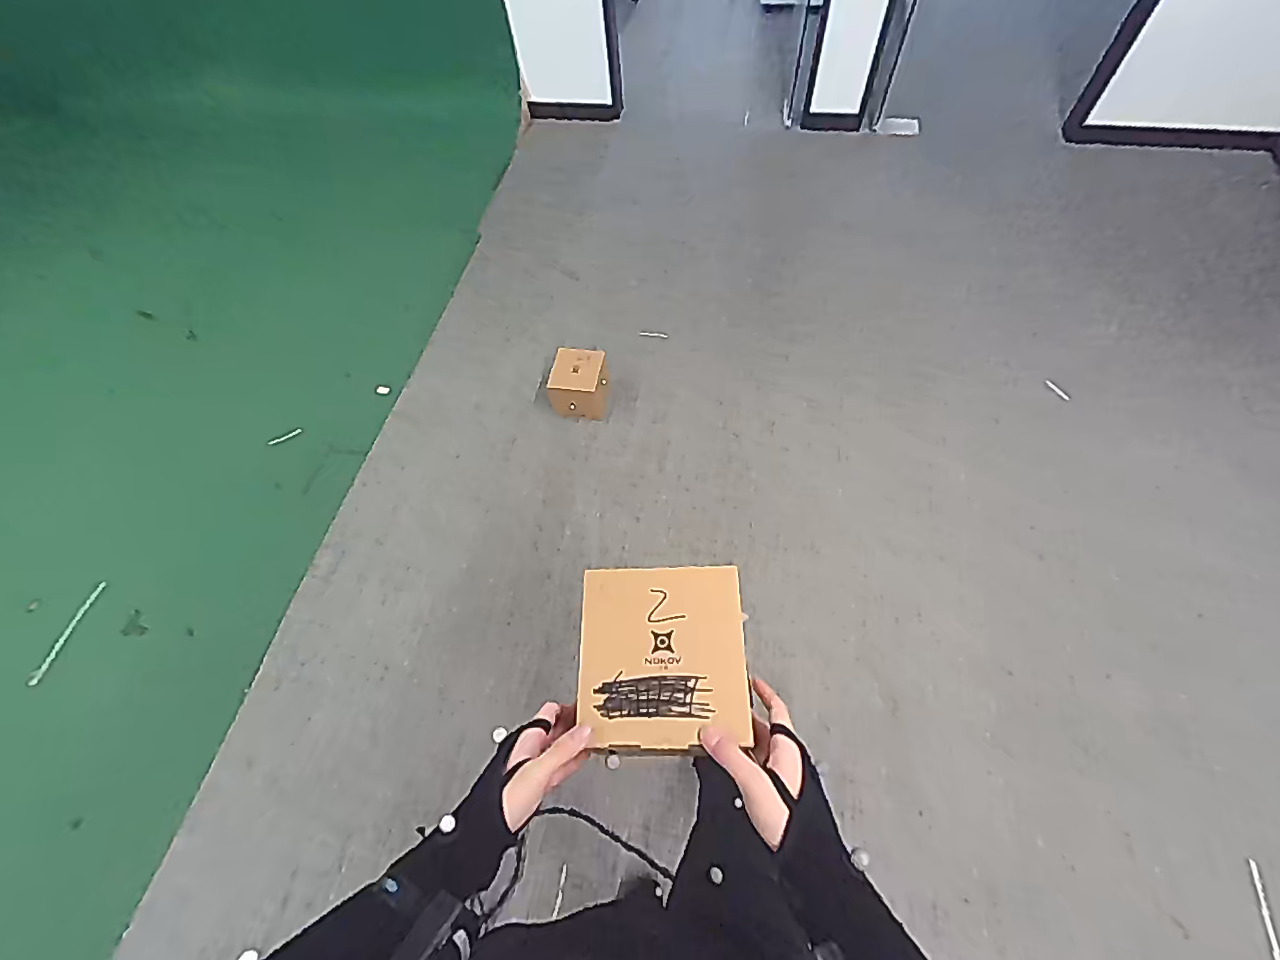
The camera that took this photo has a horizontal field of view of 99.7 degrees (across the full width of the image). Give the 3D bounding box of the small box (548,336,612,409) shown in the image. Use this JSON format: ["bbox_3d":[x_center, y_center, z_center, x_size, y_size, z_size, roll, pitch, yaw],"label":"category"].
[{"bbox_3d":[-0.198,-0.364,1.853,0.168,0.176,0.179,10,63,8],"label":"small box"}]
